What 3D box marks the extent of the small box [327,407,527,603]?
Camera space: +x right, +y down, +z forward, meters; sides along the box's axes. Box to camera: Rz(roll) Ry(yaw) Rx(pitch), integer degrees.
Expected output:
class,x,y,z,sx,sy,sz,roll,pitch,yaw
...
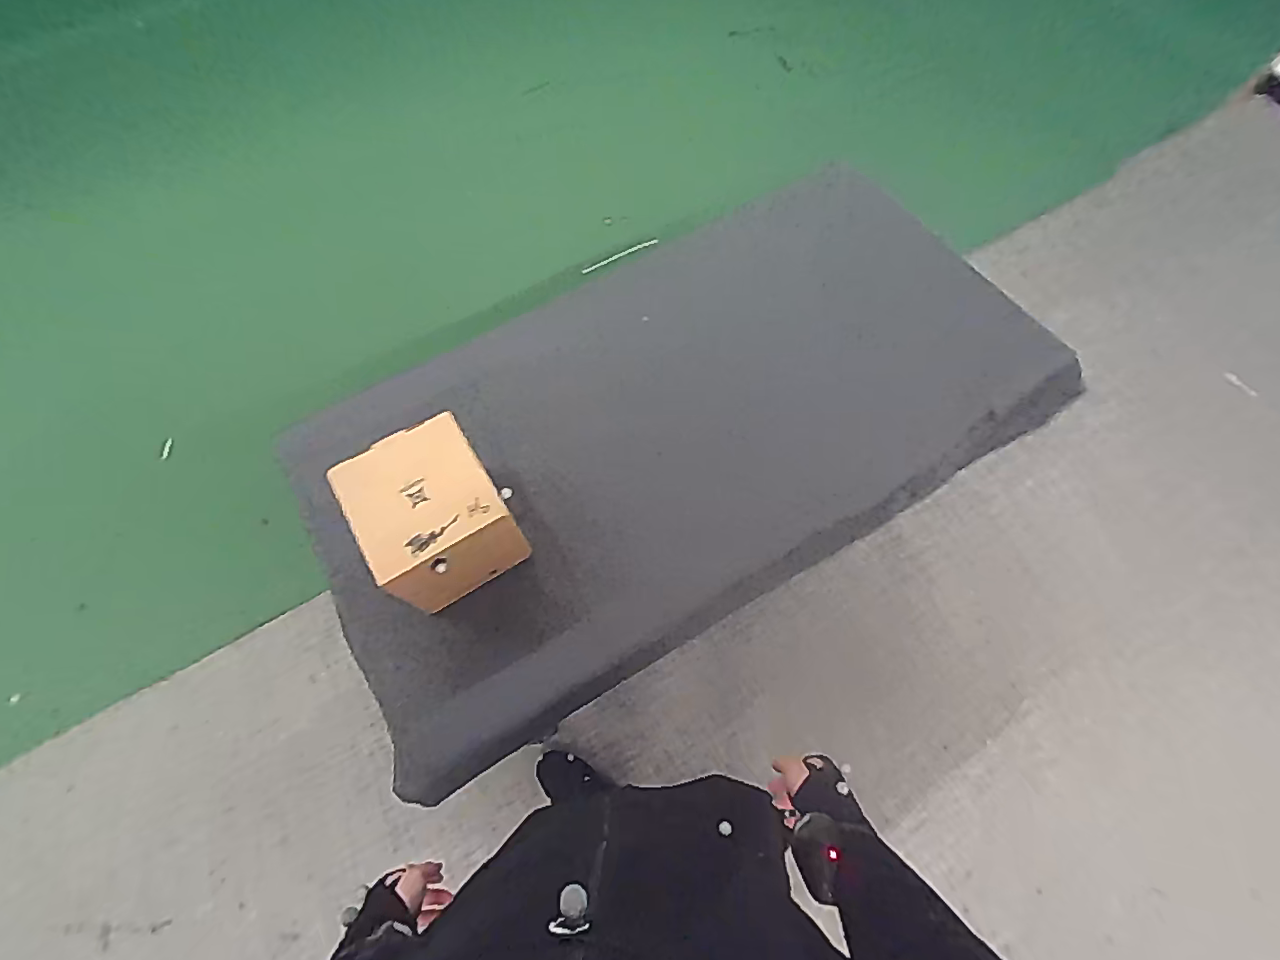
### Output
class,x,y,z,sx,sy,sz,roll,pitch,yaw
small box,-0.274,0.041,0.728,0.168,0.176,0.179,-31,69,-12
